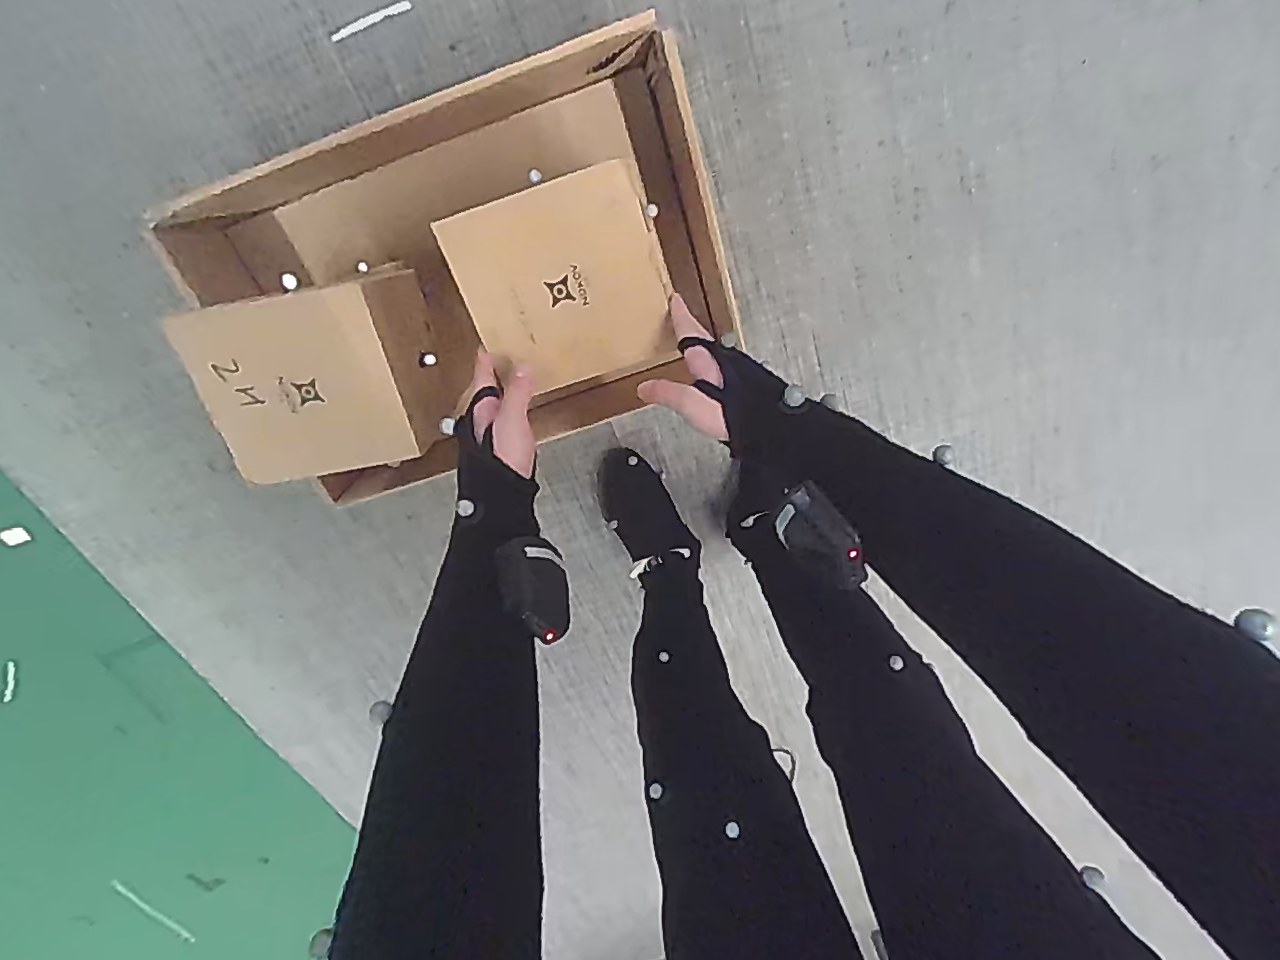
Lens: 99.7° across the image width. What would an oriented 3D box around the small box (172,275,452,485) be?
[{"bbox_3d":[-0.313,-0.114,0.570,0.179,0.176,0.168,-10,115,0],"label":"small box"}]
